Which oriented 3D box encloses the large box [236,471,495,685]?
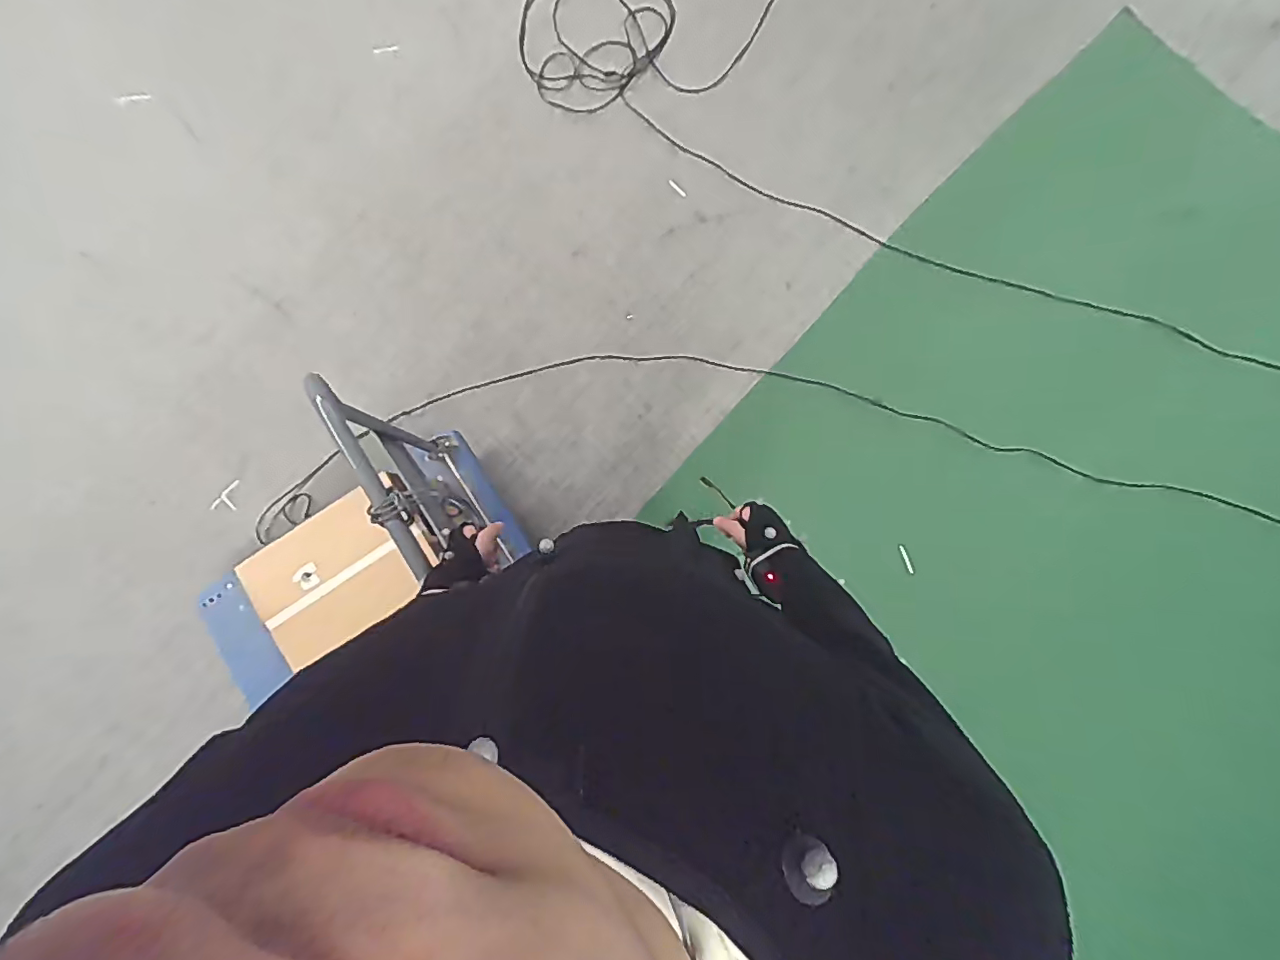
[{"bbox_3d":[-0.639,0.219,1.328,0.408,0.320,0.320,-33,85,1],"label":"large box"}]
